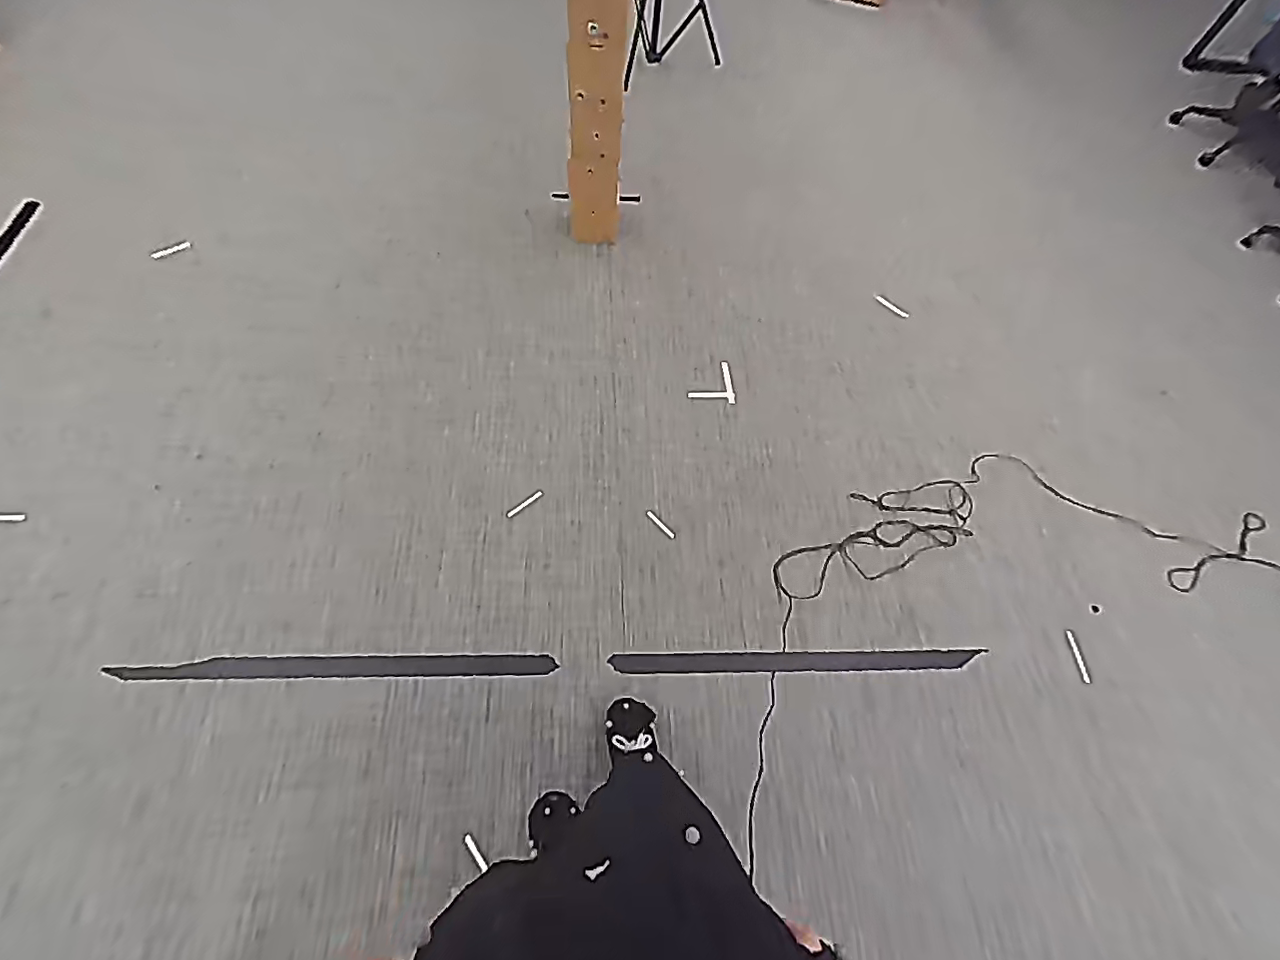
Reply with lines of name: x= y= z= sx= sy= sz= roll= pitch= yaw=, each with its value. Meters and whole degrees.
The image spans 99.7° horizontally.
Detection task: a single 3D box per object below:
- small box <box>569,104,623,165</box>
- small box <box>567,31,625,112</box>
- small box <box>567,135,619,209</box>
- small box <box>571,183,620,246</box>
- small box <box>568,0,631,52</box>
small box: x=-0.141 y=-1.166 z=1.772 sx=0.168 sy=0.176 sz=0.179 roll=2 pitch=63 yaw=-5
small box: x=-0.130 y=-1.244 z=1.628 sx=0.168 sy=0.176 sz=0.179 roll=1 pitch=62 yaw=-5
small box: x=-0.164 y=-1.089 z=1.914 sx=0.179 sy=0.176 sz=0.168 roll=2 pitch=63 yaw=-4
small box: x=-0.171 y=-1.016 z=2.062 sx=0.179 sy=0.176 sz=0.168 roll=0 pitch=63 yaw=-6
small box: x=-0.114 y=-1.319 z=1.485 sx=0.168 sy=0.176 sz=0.179 roll=-1 pitch=64 yaw=-5
